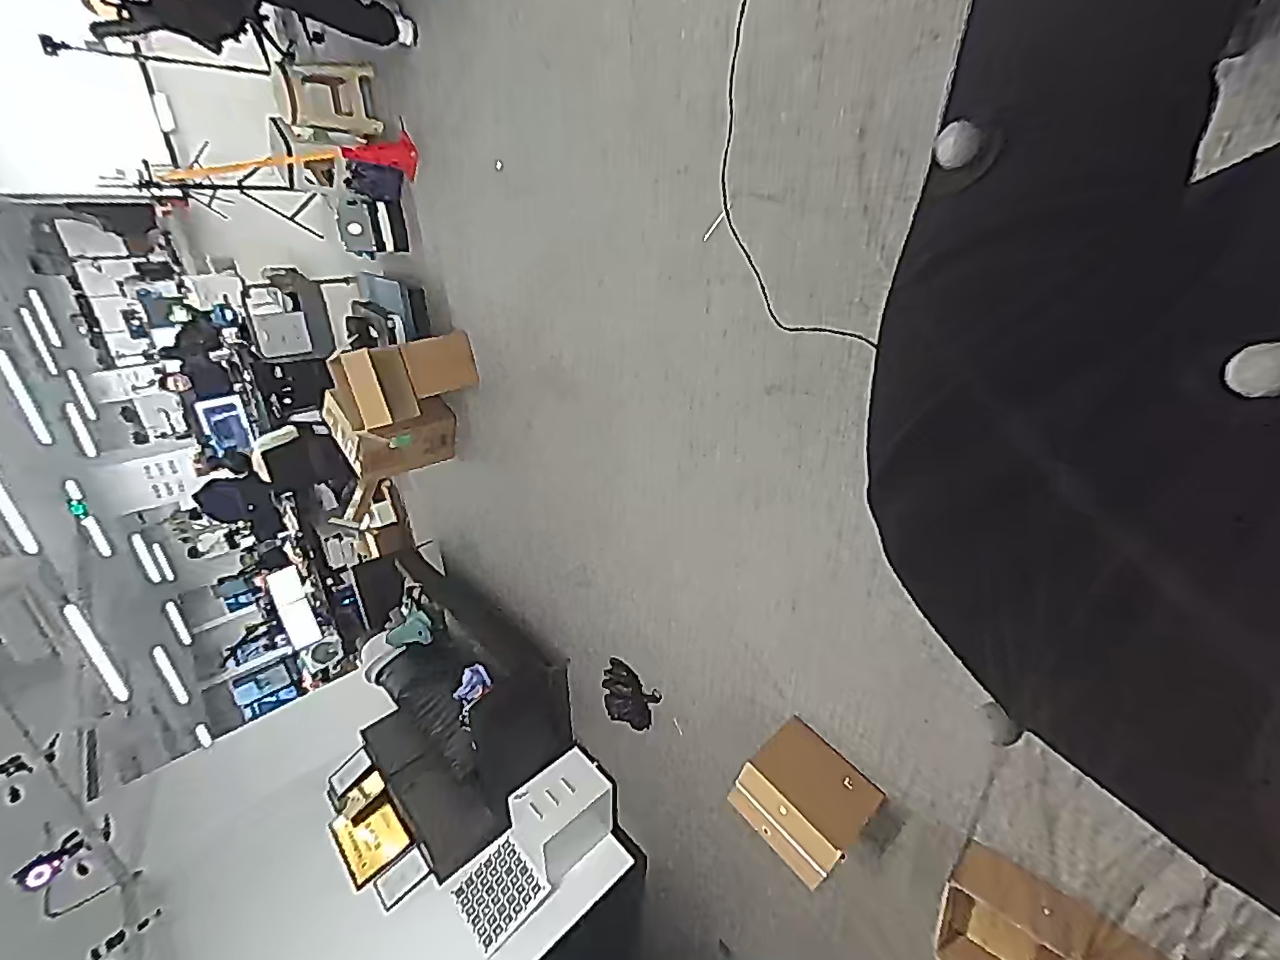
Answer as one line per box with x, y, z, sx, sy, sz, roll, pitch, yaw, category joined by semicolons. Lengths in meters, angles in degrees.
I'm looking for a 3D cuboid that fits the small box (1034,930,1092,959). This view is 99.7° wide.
1.203;1.434;1.514;0.179;0.176;0.168;20;122;45;small box
